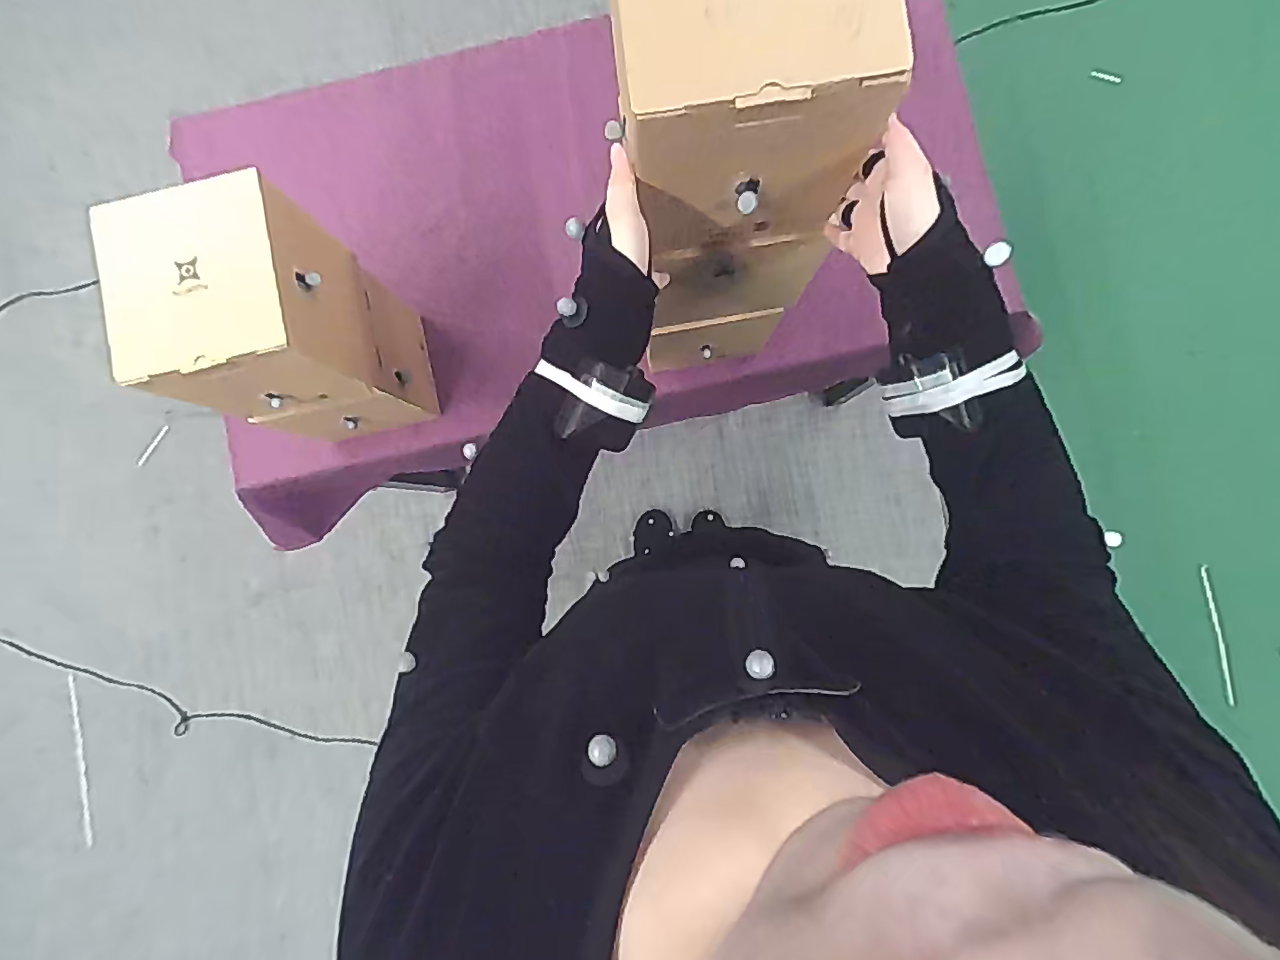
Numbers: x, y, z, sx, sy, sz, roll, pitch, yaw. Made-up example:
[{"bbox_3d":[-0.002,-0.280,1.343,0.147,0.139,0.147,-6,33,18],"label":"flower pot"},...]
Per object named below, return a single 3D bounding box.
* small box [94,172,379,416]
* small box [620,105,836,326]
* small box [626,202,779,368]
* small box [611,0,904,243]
[{"bbox_3d":[-0.408,-0.181,0.575,0.168,0.176,0.179,-12,87,1],"label":"small box"},{"bbox_3d":[0.081,-0.275,0.567,0.179,0.176,0.168,-9,86,1],"label":"small box"},{"bbox_3d":[0.078,-0.260,0.731,0.168,0.176,0.179,-9,86,1],"label":"small box"},{"bbox_3d":[0.069,-0.298,0.404,0.168,0.176,0.179,-7,87,1],"label":"small box"}]
